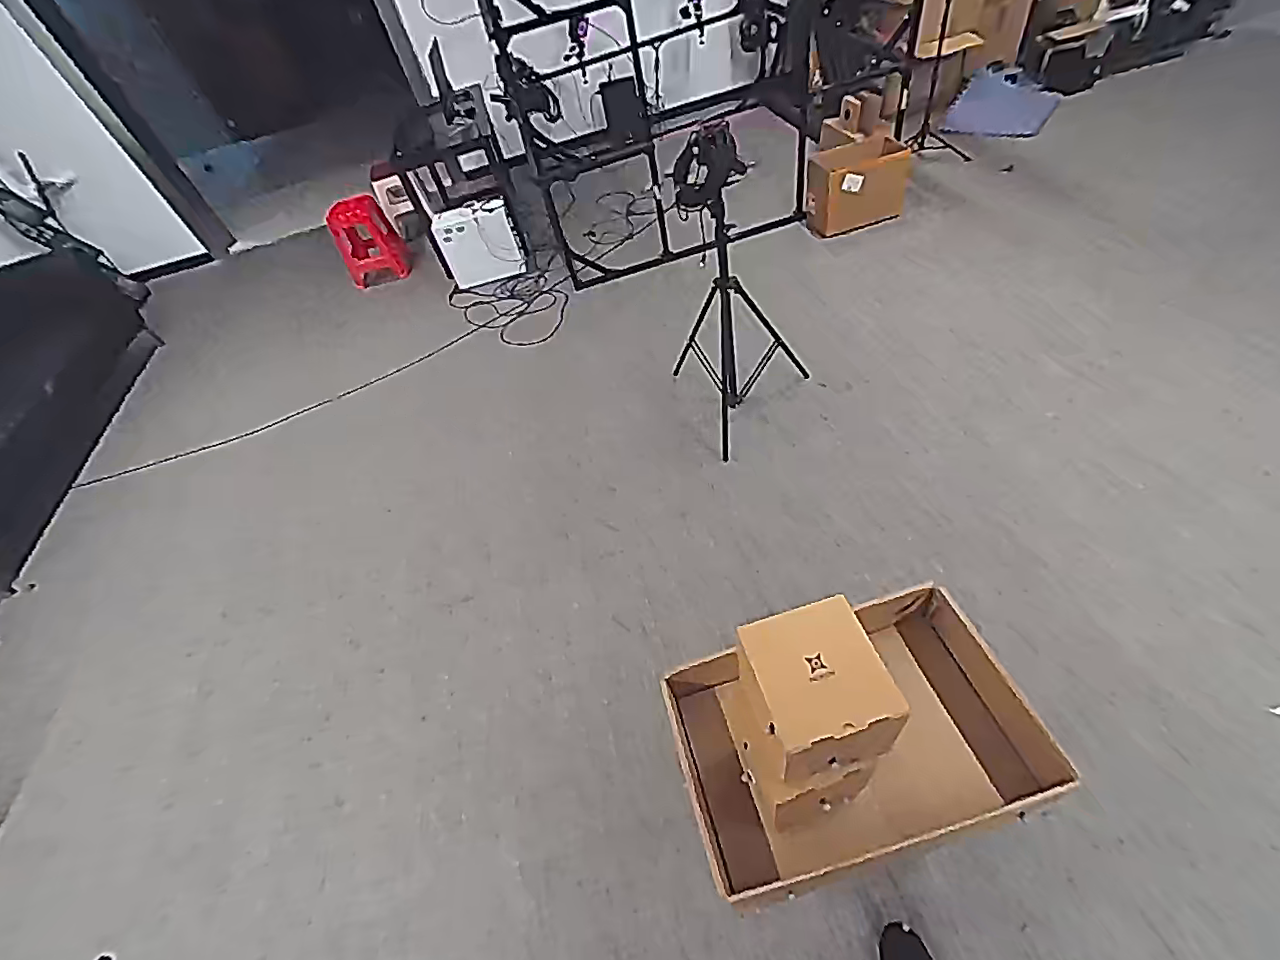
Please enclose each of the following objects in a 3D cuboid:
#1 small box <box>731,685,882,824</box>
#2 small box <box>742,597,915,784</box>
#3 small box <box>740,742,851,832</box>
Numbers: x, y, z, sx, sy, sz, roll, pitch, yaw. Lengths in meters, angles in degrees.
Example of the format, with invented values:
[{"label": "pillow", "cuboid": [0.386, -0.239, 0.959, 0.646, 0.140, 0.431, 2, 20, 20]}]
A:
[{"label": "small box", "cuboid": [0.260, 0.428, 0.885, 0.168, 0.176, 0.179, -20, 48, -5]}, {"label": "small box", "cuboid": [0.254, 0.303, 0.776, 0.168, 0.176, 0.179, -18, 48, -3]}, {"label": "small box", "cuboid": [0.296, 0.526, 1.012, 0.179, 0.176, 0.168, -22, 48, -6]}]
